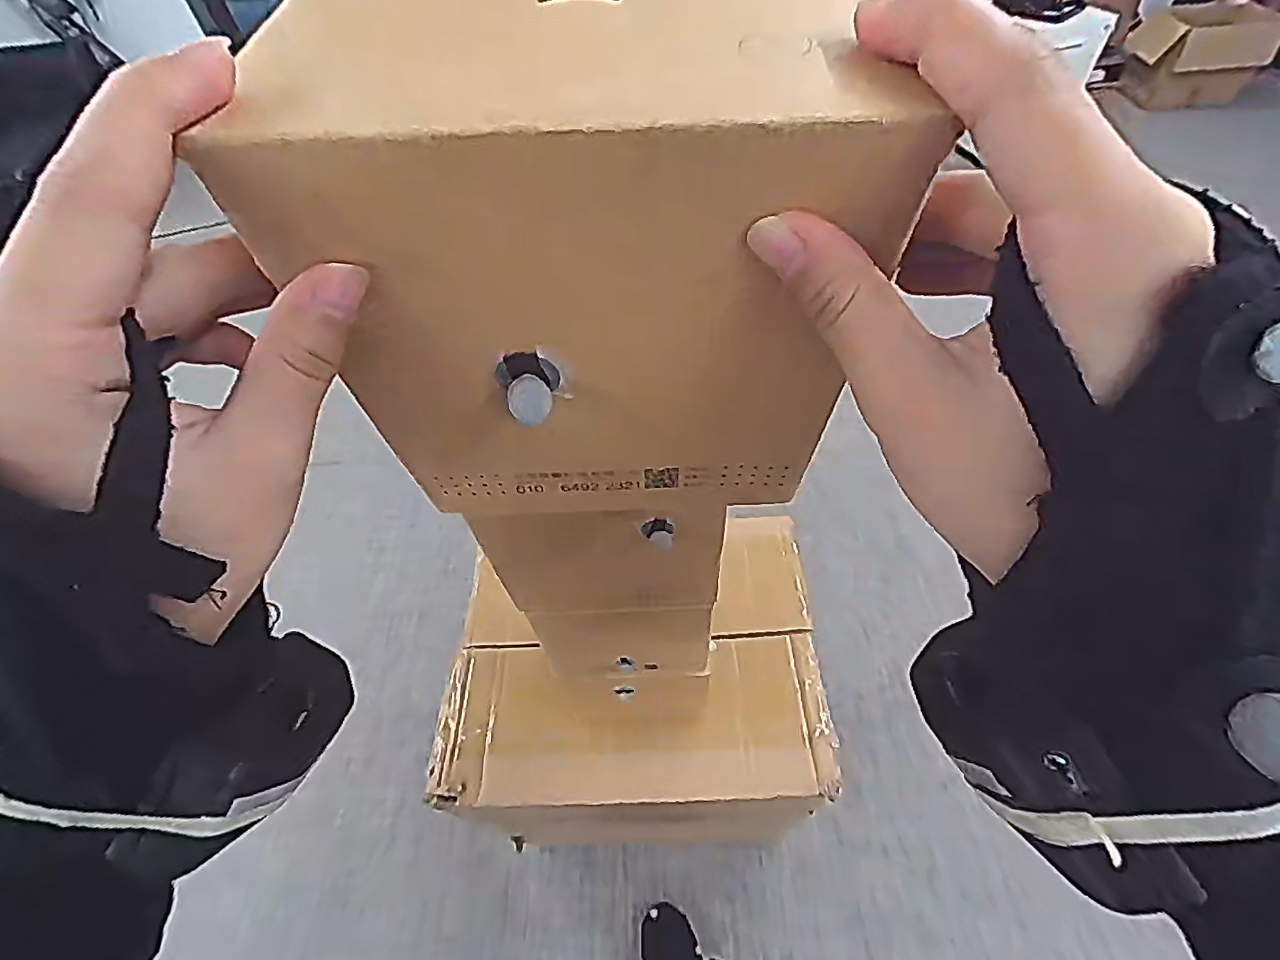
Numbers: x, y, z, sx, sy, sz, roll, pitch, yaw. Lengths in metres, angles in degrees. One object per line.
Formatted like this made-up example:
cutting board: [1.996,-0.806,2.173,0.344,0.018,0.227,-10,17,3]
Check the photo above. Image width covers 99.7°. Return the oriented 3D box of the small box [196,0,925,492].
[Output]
small box: [-0.017,-0.104,0.229,0.168,0.176,0.179,-2,58,0]

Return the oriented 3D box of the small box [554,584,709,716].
small box: [-0.005,0.201,0.705,0.179,0.176,0.168,-3,52,2]

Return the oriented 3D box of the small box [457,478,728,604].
small box: [-0.027,-0.007,0.451,0.179,0.176,0.168,-3,52,3]
